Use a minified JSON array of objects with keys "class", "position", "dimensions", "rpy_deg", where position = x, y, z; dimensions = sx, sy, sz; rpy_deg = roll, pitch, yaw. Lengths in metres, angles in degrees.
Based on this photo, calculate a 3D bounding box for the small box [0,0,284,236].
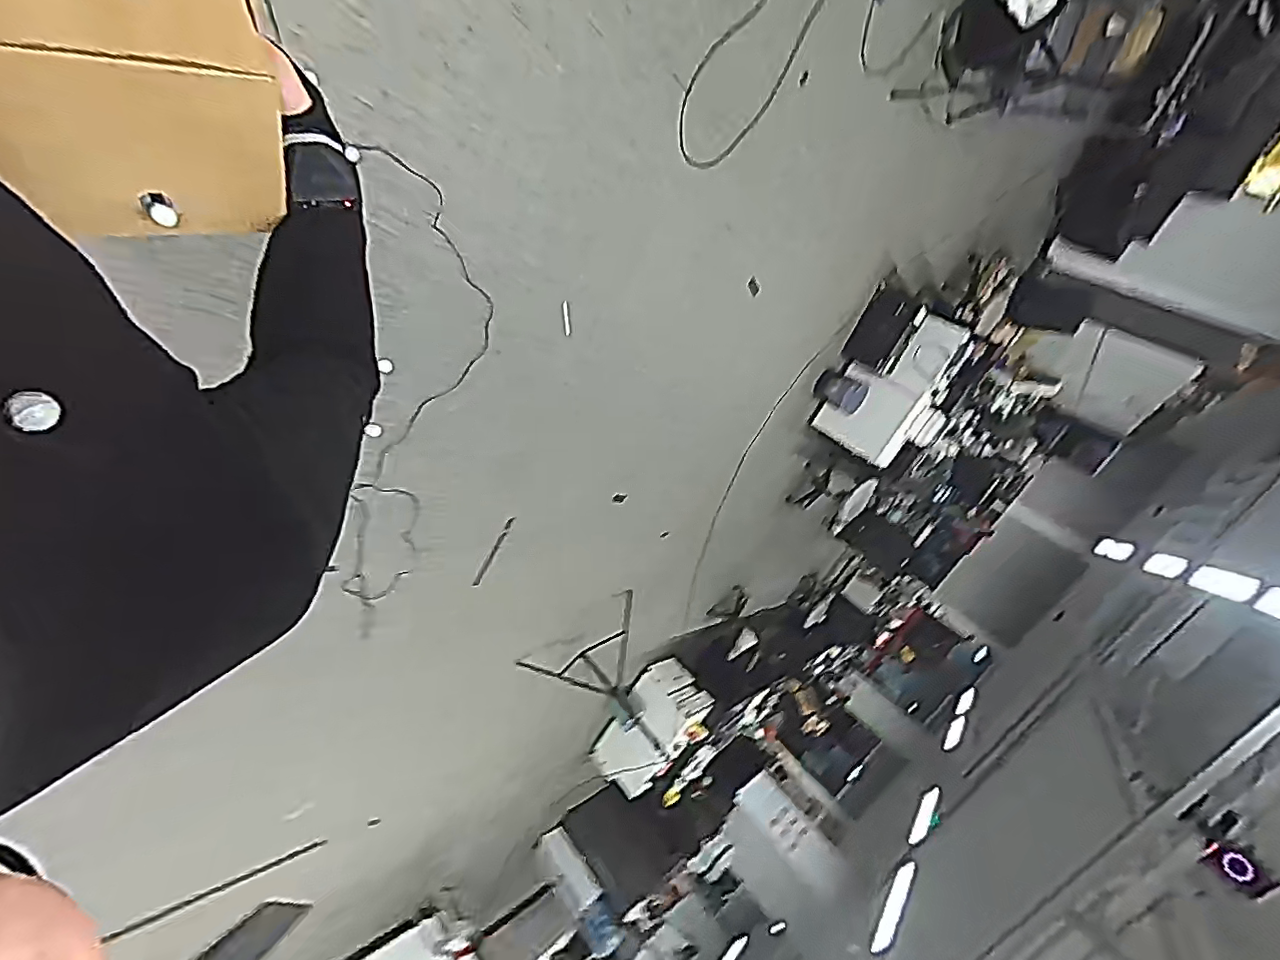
[{"class":"small box","position":[-0.387,-0.303,0.398],"dimensions":[0.179,0.168,0.176],"rpy_deg":[-21,177,-34]}]
